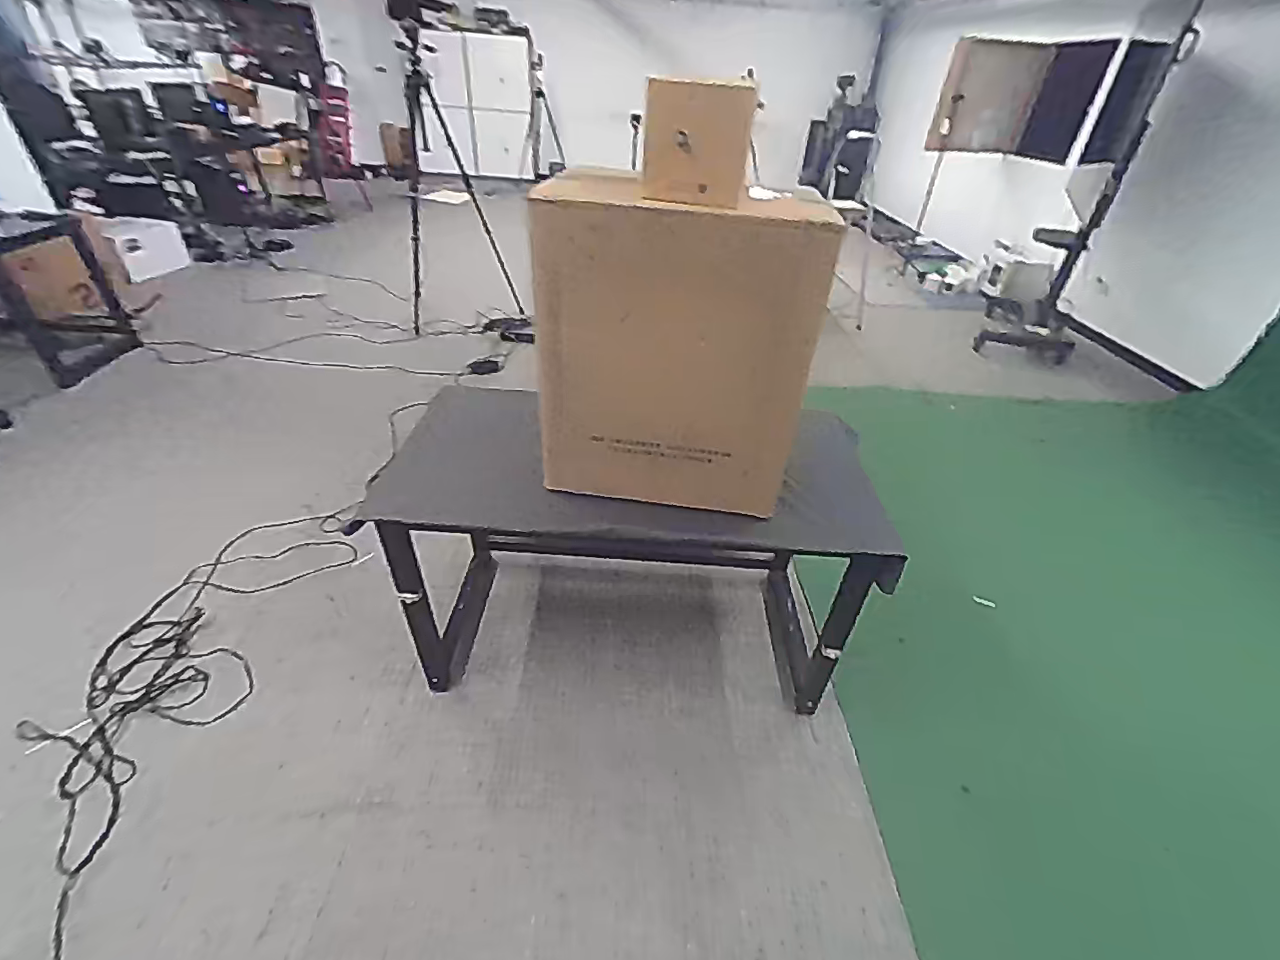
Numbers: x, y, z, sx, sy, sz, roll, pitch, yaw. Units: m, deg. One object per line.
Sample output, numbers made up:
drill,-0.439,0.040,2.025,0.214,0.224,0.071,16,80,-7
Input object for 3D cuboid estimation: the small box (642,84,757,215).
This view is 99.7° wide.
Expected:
small box,0.098,-0.559,0.915,0.168,0.176,0.179,10,39,7
